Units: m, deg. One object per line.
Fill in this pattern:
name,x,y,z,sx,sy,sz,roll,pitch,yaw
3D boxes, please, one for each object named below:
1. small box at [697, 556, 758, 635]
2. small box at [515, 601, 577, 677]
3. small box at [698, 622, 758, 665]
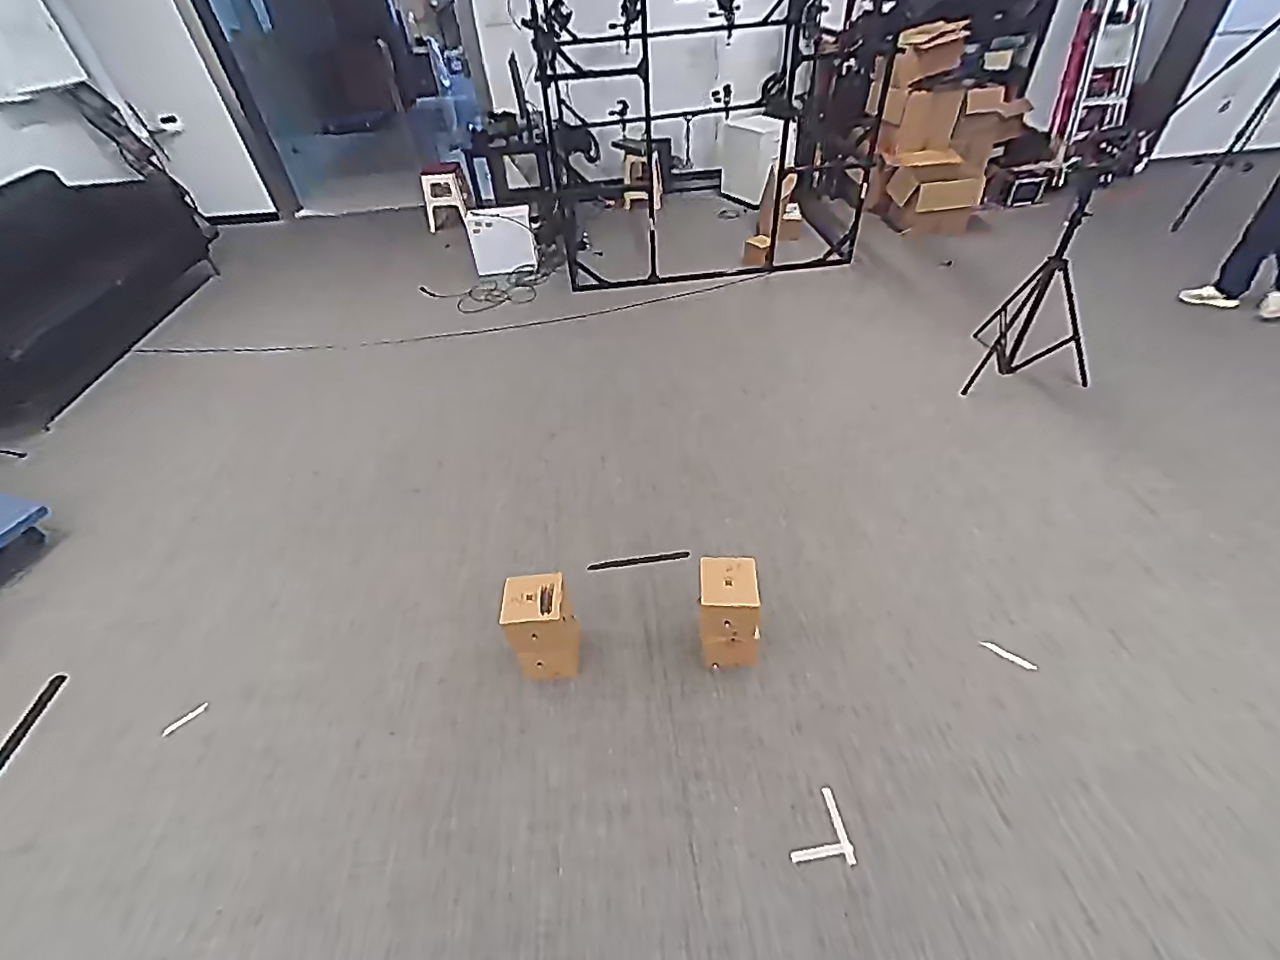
small box,0.259,0.351,1.629,0.168,0.176,0.179,1,44,4
small box,-0.296,0.519,1.744,0.168,0.176,0.179,-6,43,0
small box,0.276,0.478,1.734,0.168,0.176,0.179,-4,43,0
